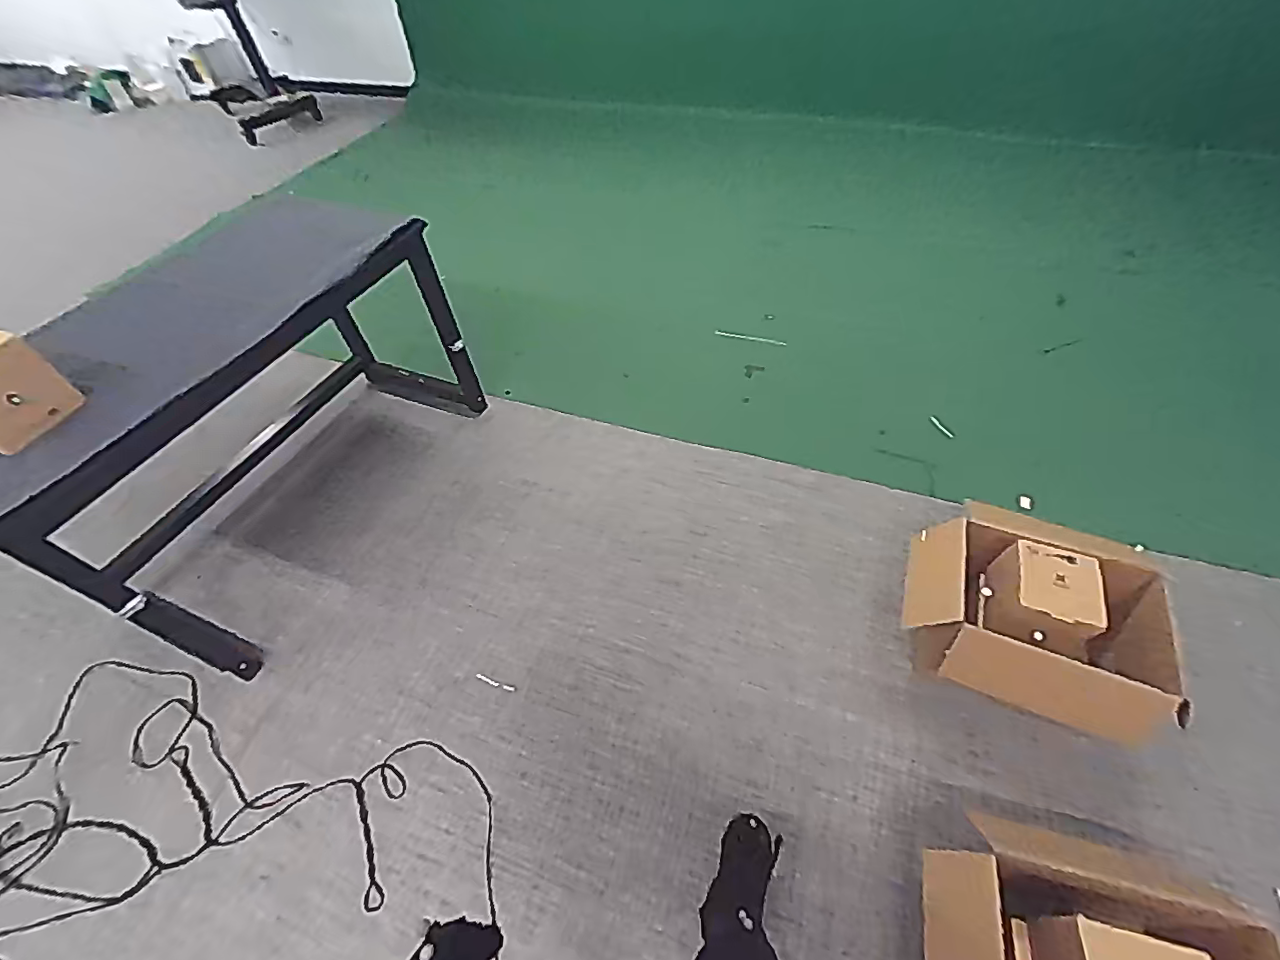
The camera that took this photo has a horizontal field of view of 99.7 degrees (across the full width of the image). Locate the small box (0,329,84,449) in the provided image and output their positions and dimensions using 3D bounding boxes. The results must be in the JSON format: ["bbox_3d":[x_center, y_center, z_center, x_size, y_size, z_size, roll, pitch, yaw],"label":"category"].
[{"bbox_3d":[-1.264,-0.180,1.046,0.179,0.176,0.168,12,52,14],"label":"small box"}]

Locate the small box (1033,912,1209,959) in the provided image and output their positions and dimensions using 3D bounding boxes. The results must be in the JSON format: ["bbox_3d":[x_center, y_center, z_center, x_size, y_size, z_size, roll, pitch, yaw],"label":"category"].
[{"bbox_3d":[0.740,0.796,0.832,0.179,0.176,0.168,9,53,13],"label":"small box"}]
